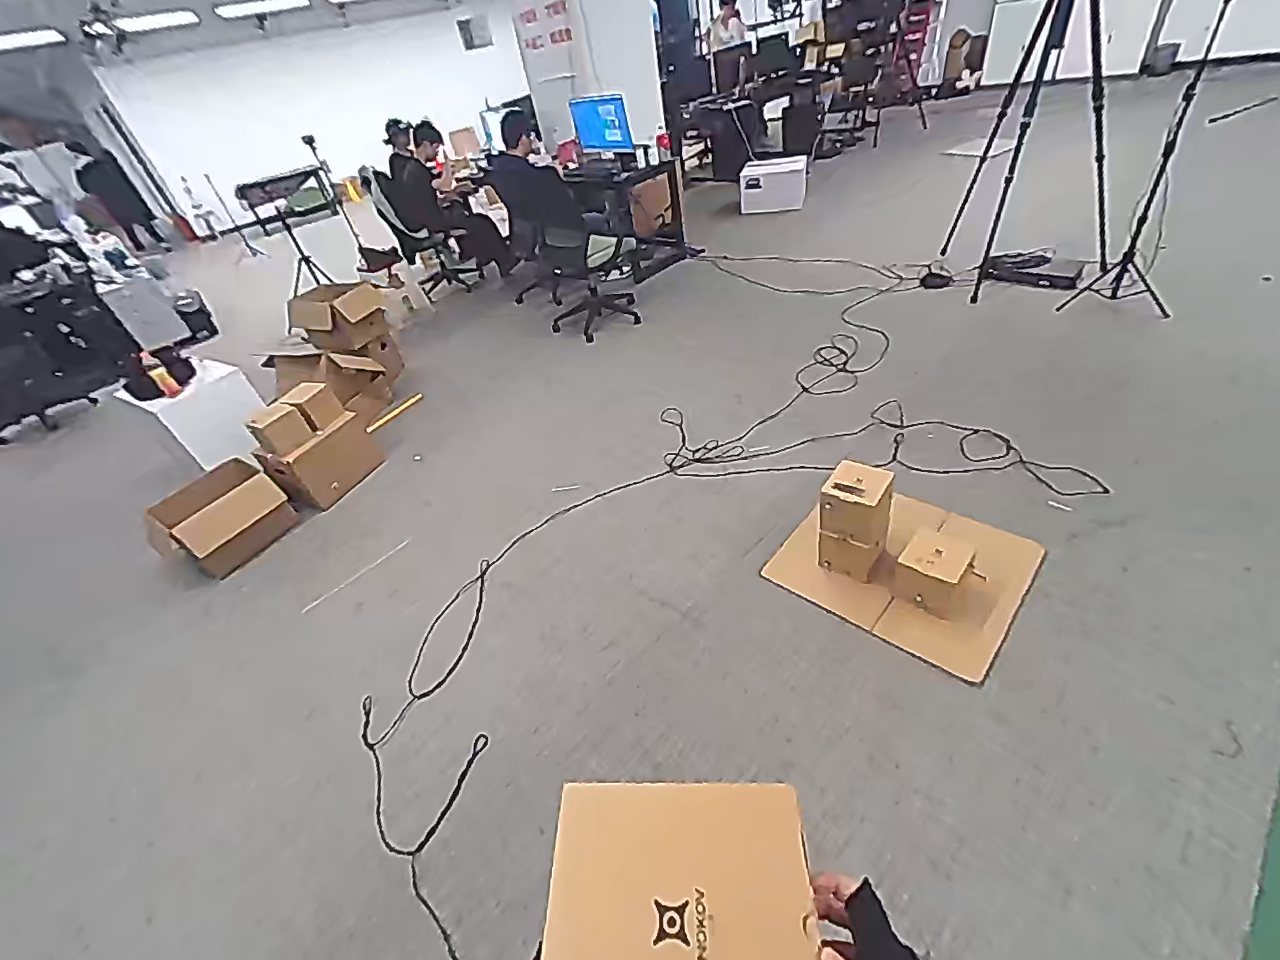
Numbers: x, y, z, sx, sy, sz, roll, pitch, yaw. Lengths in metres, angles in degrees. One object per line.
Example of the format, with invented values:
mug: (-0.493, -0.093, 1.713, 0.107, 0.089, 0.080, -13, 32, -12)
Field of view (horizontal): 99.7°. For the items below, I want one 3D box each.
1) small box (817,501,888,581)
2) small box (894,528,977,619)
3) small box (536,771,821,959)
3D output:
small box: (0.704, 0.204, 1.793, 0.168, 0.176, 0.179, 21, 49, 35)
small box: (0.891, 0.283, 1.645, 0.168, 0.176, 0.179, 24, 52, 39)
small box: (0.032, 0.334, 0.399, 0.179, 0.176, 0.168, -3, 43, 6)
